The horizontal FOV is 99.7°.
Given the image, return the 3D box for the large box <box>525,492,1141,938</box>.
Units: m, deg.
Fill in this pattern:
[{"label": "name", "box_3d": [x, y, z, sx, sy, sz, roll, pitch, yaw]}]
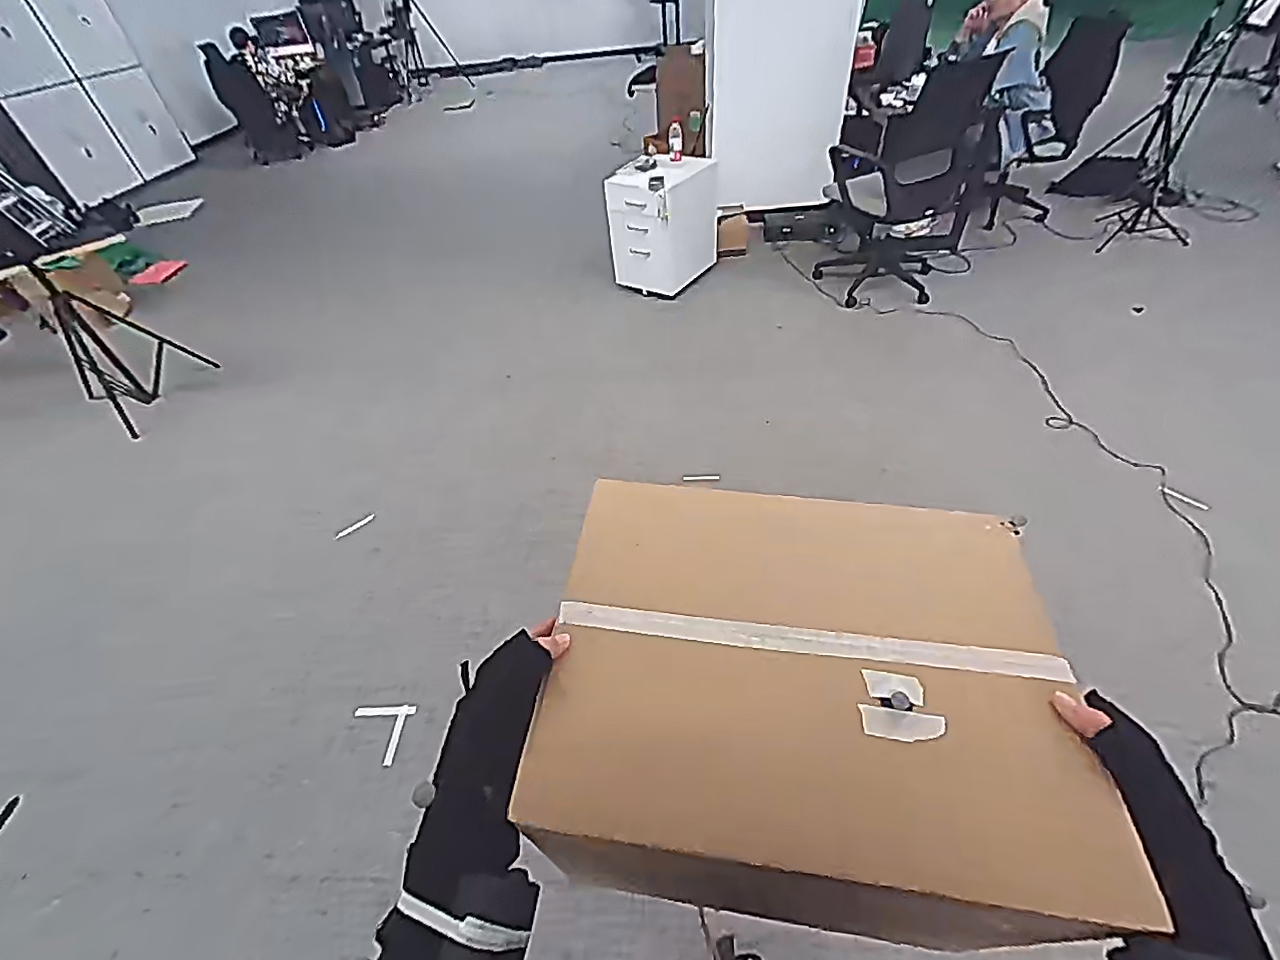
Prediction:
[{"label": "large box", "box_3d": [0.136, 0.239, 0.560, 0.408, 0.320, 0.320, 5, 49, 7]}]
